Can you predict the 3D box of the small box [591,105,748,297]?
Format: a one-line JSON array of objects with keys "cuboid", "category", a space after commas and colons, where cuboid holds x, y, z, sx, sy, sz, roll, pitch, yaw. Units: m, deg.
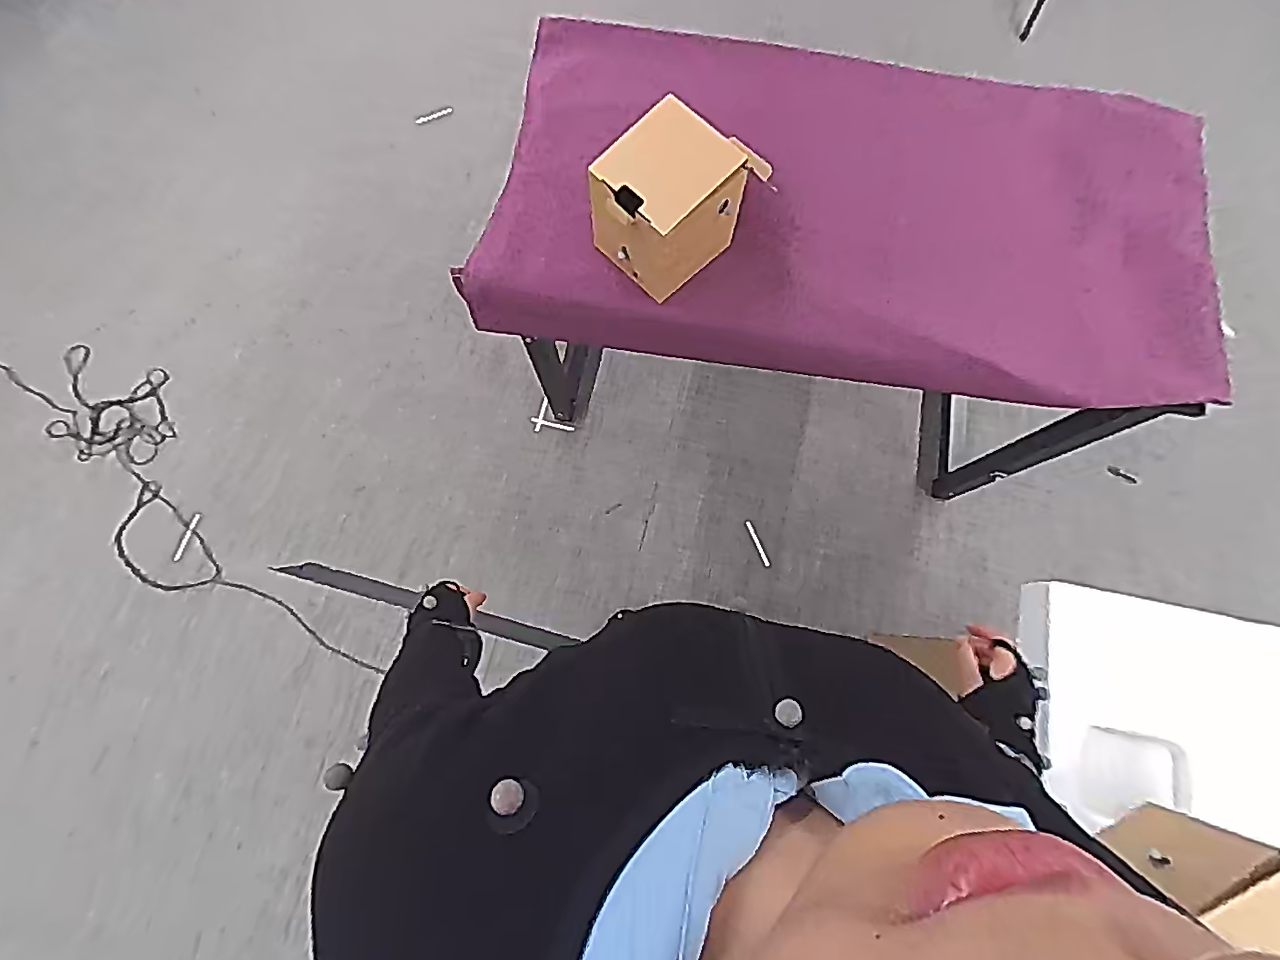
[{"cuboid": [0.042, -0.437, 0.868, 0.179, 0.176, 0.168, -42, 78, -10], "category": "small box"}]
